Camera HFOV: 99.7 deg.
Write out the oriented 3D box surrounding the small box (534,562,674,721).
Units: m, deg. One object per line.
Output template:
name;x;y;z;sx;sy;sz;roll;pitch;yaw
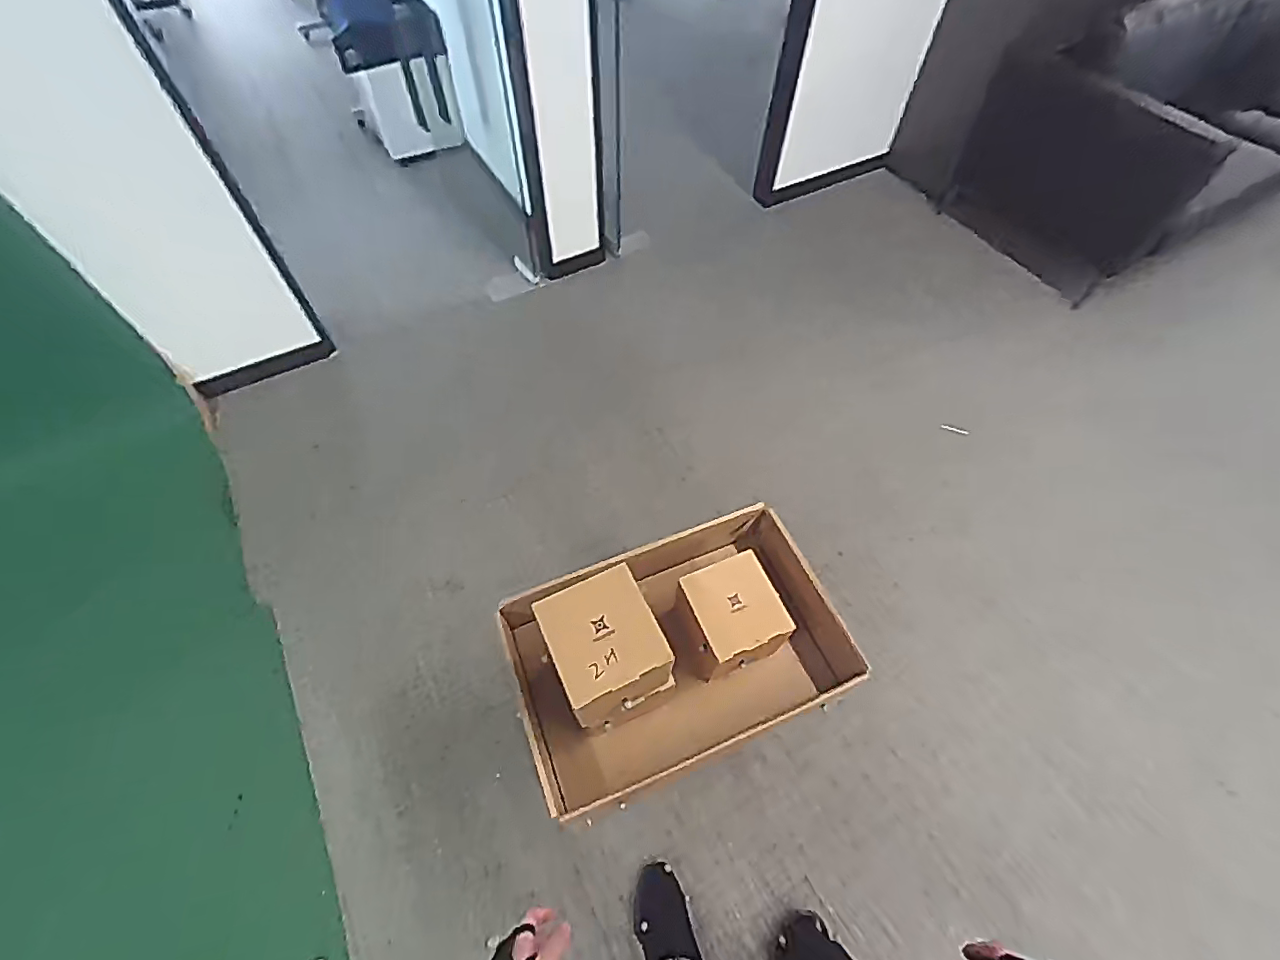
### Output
small box;-0.061;0.269;0.885;0.168;0.176;0.179;-22;62;-14
